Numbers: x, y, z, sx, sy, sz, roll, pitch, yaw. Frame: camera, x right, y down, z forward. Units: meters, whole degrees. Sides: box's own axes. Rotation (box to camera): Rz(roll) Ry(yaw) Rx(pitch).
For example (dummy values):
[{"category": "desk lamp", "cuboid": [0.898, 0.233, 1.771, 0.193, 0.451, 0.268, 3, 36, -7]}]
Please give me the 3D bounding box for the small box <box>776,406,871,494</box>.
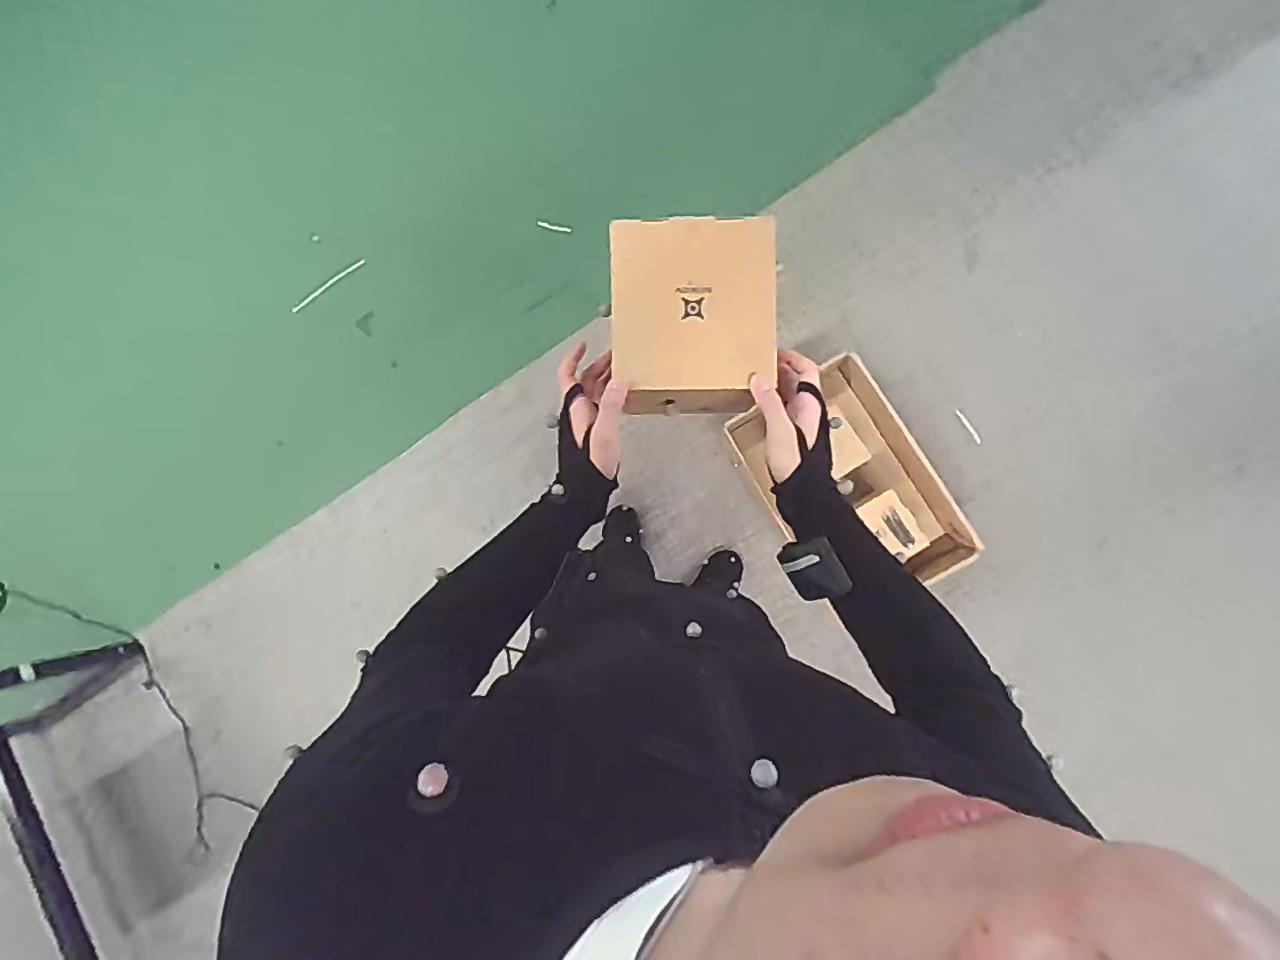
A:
[{"category": "small box", "cuboid": [0.477, -0.073, 1.443, 0.179, 0.176, 0.168, -32, 84, 6]}]
